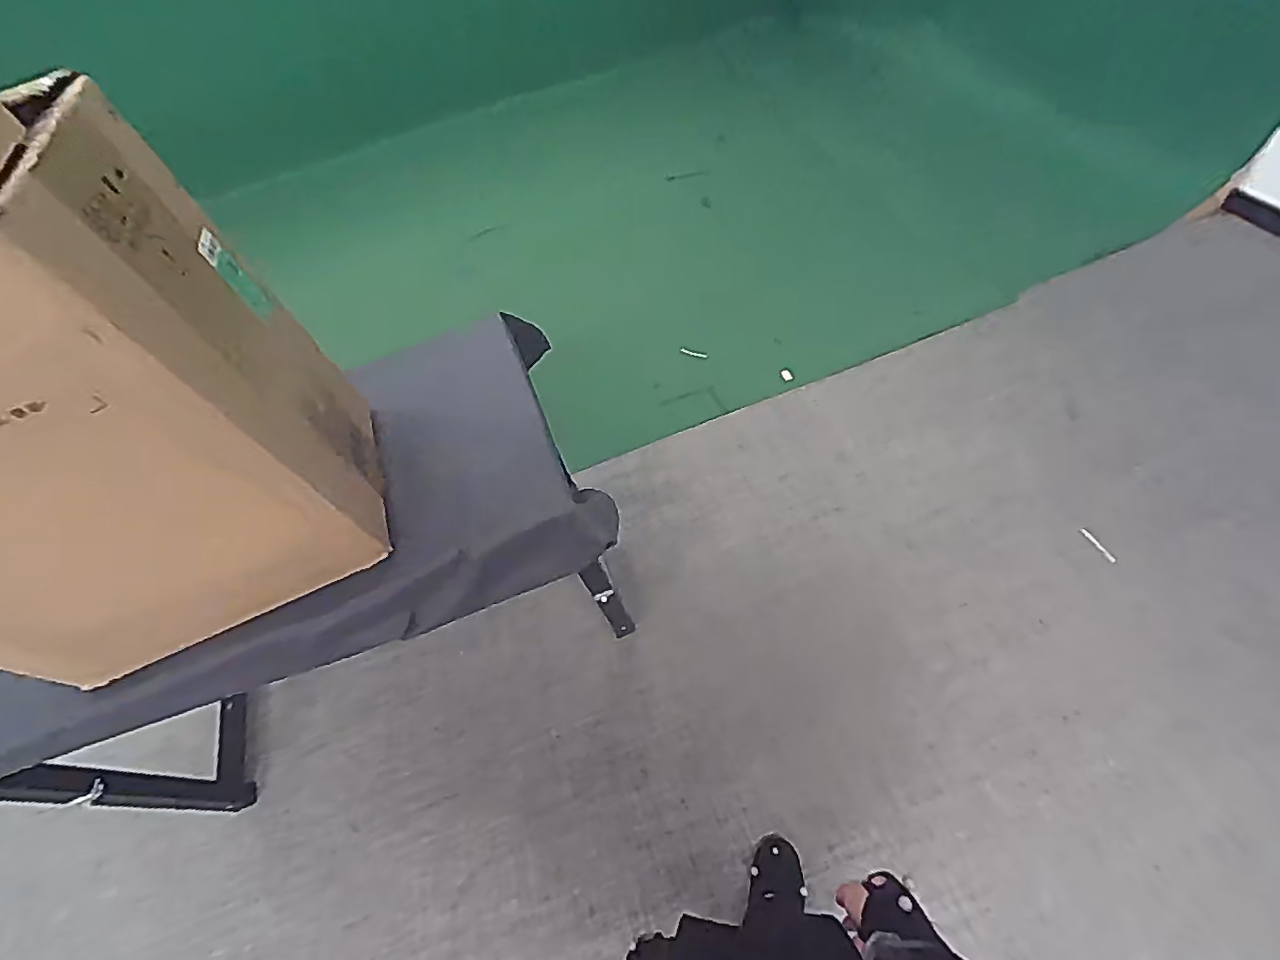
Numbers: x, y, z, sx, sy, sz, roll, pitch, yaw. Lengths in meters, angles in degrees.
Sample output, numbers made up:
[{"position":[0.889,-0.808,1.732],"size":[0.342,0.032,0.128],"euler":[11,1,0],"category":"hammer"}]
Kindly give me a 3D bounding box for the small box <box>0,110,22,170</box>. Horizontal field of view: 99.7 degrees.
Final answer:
[{"position":[-0.649,-0.293,0.409],"size":[0.168,0.176,0.179],"euler":[-24,57,-6],"category":"small box"}]
